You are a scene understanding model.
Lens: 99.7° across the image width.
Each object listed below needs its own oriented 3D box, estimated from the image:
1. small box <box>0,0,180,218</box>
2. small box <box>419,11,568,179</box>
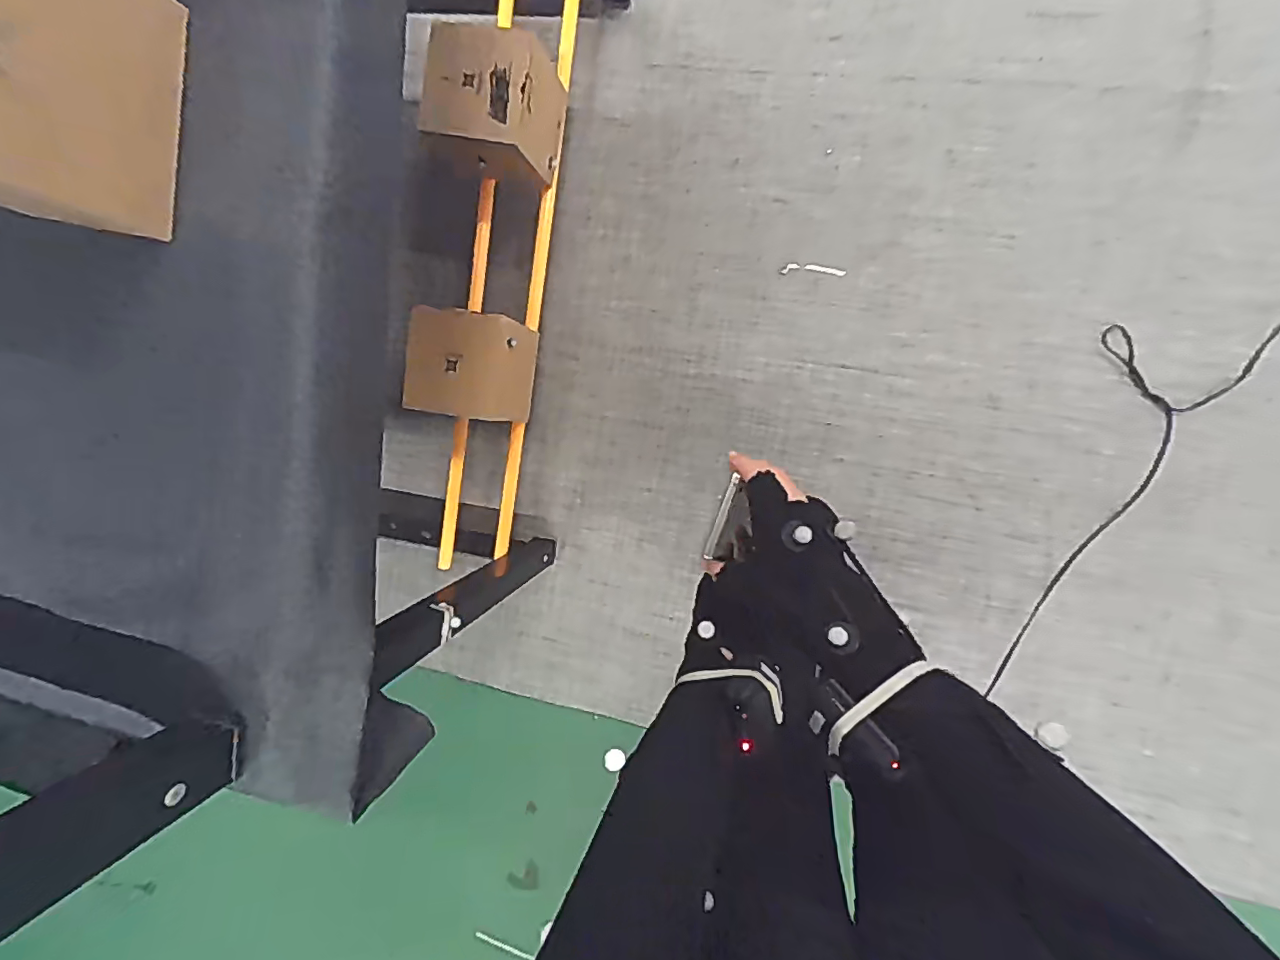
[{"bbox_3d":[-0.453,-0.296,0.355,0.168,0.176,0.179,14,99,9],"label":"small box"},{"bbox_3d":[-0.237,-0.634,0.912,0.179,0.176,0.168,14,99,10],"label":"small box"}]
